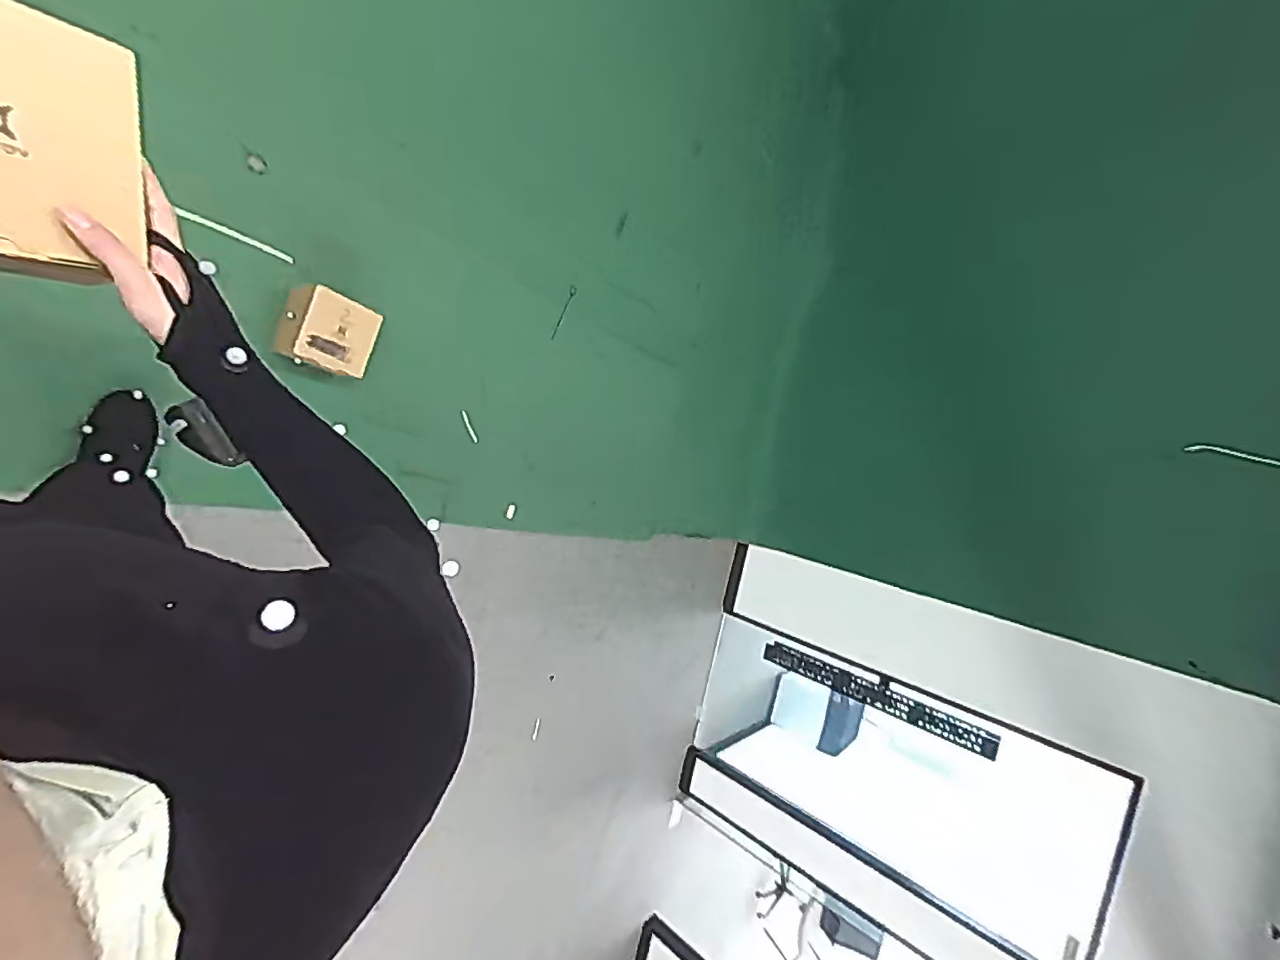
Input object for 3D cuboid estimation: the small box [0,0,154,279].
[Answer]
[{"bbox_3d":[-0.517,-0.264,0.421,0.168,0.176,0.179,-10,109,-55],"label":"small box"}]
